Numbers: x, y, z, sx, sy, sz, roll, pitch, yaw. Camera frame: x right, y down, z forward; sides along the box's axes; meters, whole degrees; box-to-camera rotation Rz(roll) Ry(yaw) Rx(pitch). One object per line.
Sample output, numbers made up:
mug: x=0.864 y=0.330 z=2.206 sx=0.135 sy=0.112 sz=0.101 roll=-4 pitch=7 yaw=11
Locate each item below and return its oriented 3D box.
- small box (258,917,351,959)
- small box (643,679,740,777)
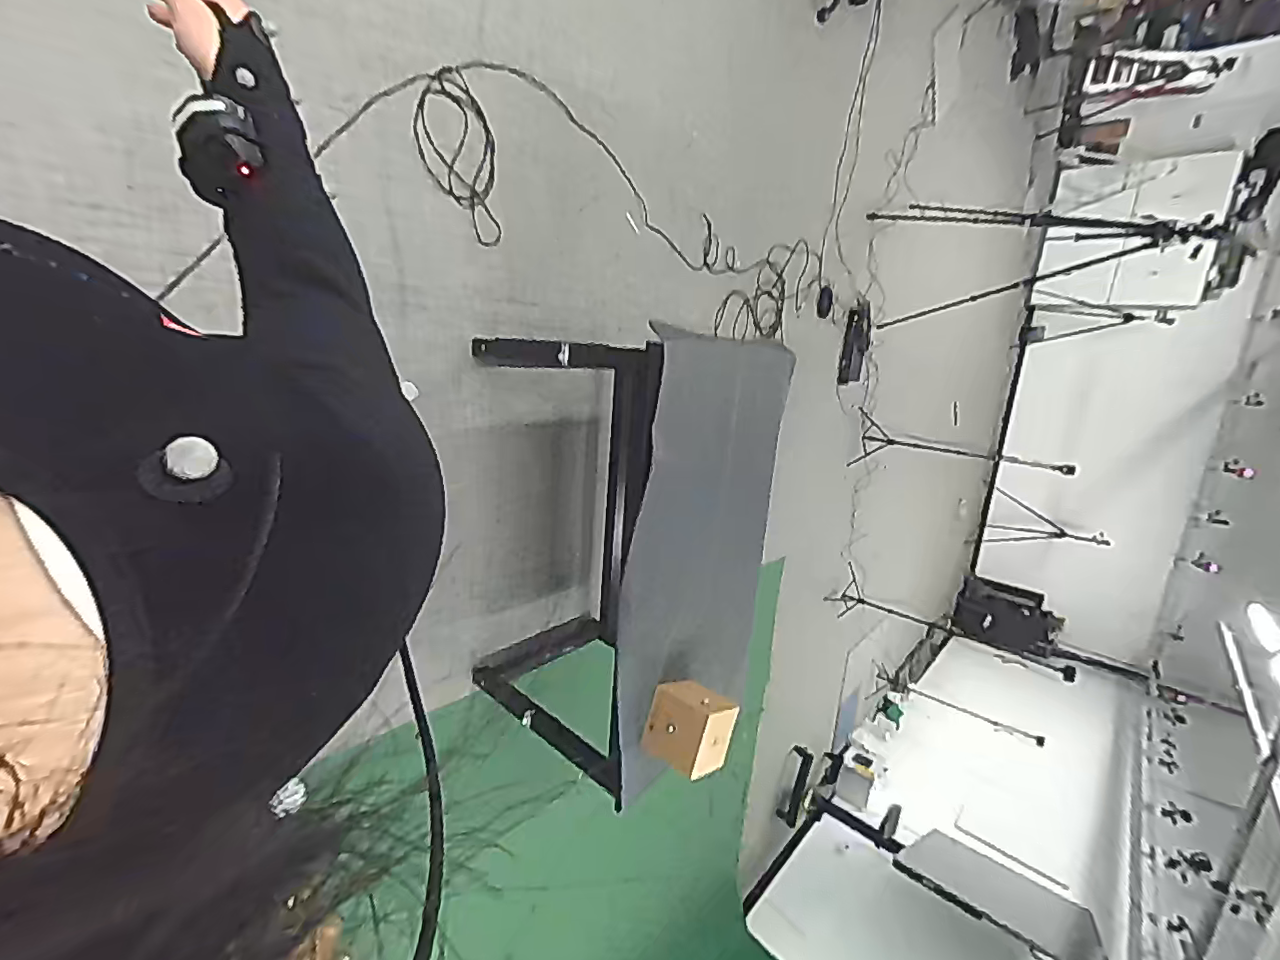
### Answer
small box: x=-0.751 y=1.136 z=1.205 sx=0.168 sy=0.176 sz=0.179 roll=-39 pitch=129 yaw=-35
small box: x=0.133 y=0.642 z=1.424 sx=0.179 sy=0.176 sz=0.168 roll=20 pitch=87 yaw=-52
